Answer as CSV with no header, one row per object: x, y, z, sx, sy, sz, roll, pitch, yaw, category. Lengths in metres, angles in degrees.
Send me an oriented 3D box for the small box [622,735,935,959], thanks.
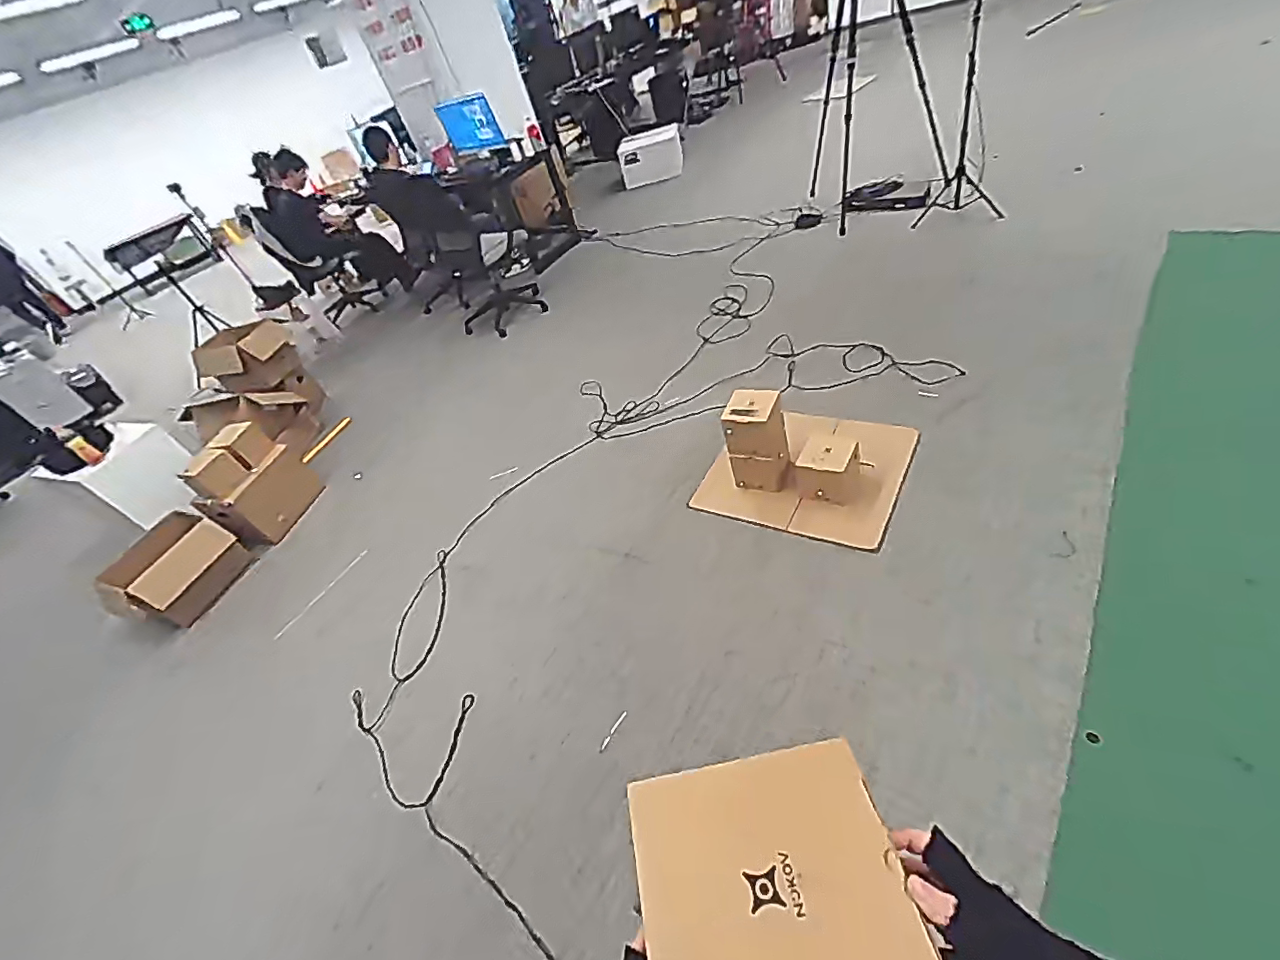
0.094,0.325,0.407,0.179,0.176,0.168,-12,41,-1,small box

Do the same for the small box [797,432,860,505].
0.669,-0.041,1.905,0.168,0.176,0.179,12,52,34,small box

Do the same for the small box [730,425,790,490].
0.459,-0.082,2.037,0.168,0.176,0.179,9,50,31,small box
